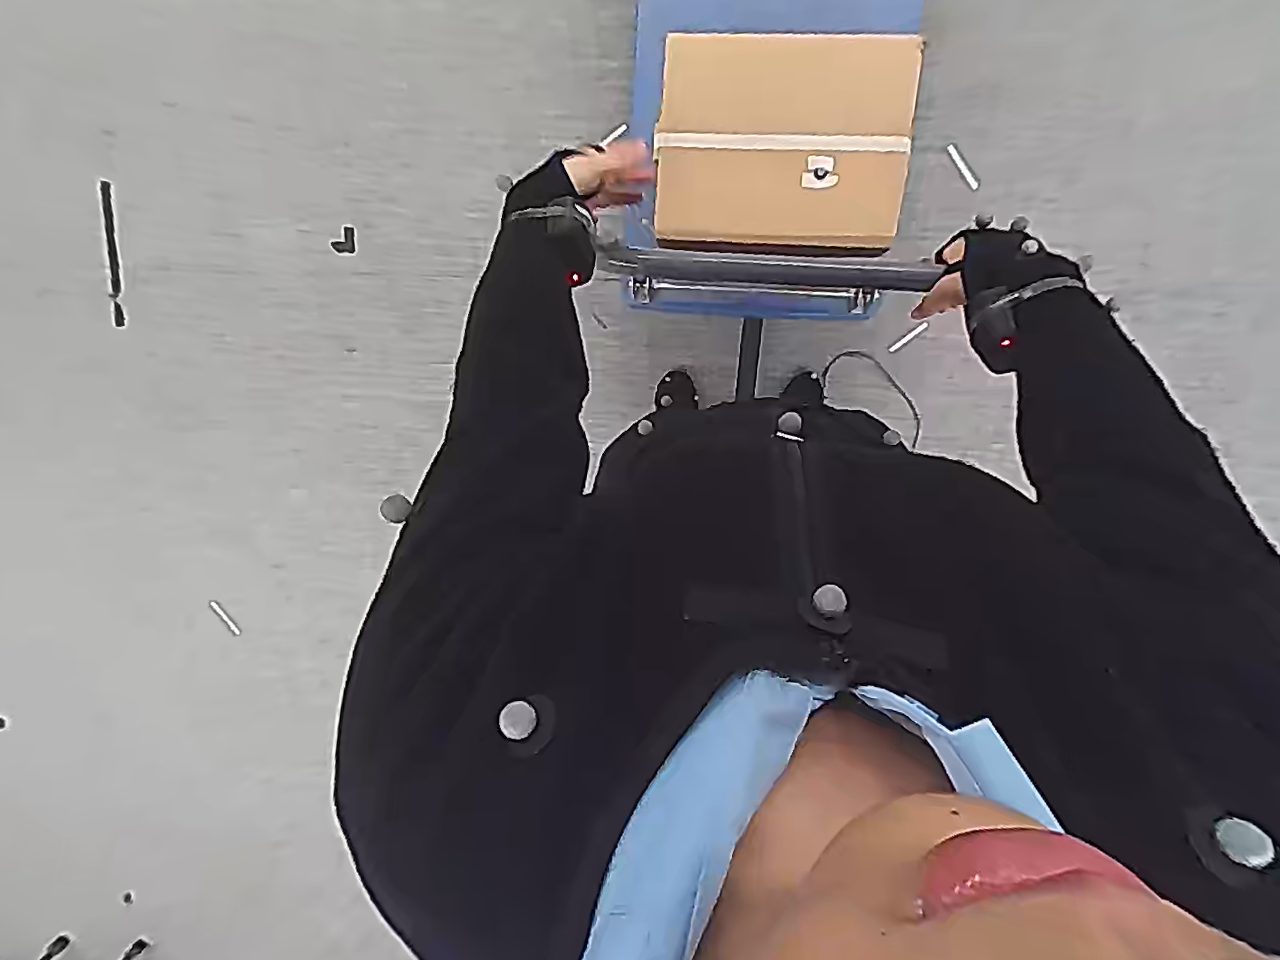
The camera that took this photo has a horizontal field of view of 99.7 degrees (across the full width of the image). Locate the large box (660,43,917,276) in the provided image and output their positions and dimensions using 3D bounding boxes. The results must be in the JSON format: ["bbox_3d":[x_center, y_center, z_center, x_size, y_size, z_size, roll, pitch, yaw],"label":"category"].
[{"bbox_3d":[0.249,-0.584,1.048,0.408,0.320,0.320,4,103,5],"label":"large box"}]
